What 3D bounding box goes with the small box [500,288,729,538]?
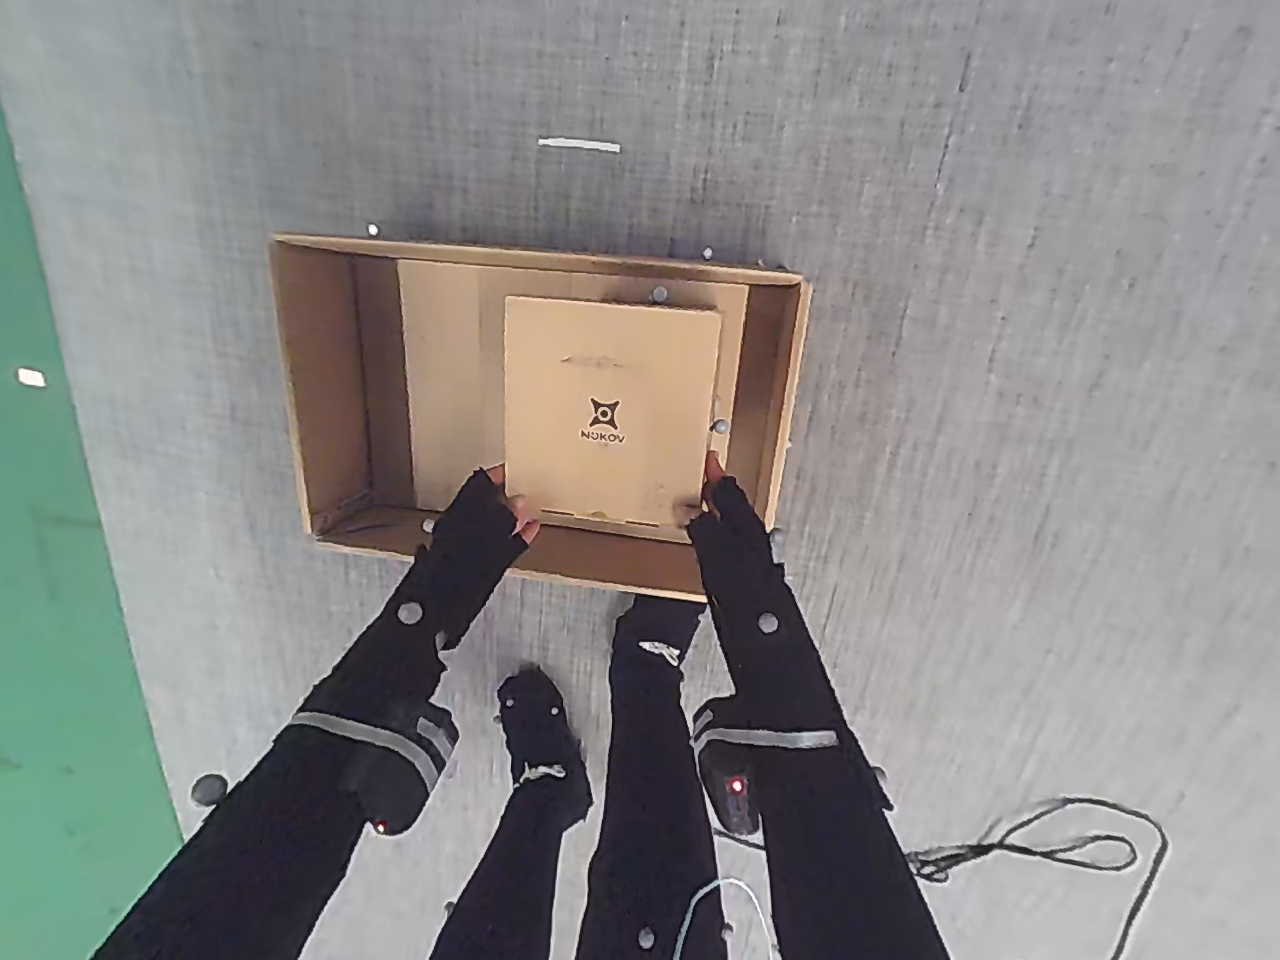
[{"bbox_3d":[-0.013,-0.071,0.481,0.168,0.176,0.179,8,109,7],"label":"small box"}]
